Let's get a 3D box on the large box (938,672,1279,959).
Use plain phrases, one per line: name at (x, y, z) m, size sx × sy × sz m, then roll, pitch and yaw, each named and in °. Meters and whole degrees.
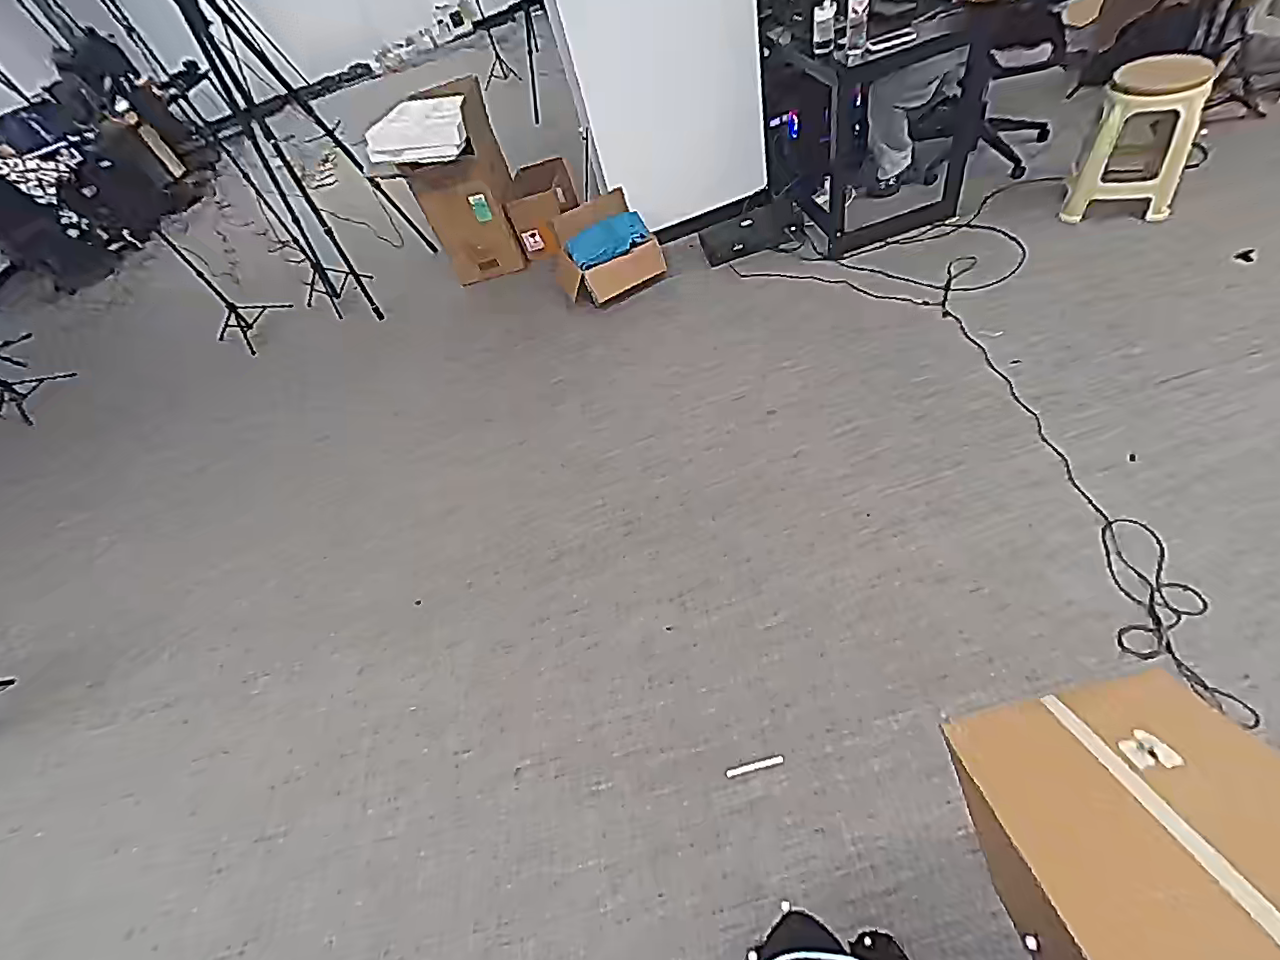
large box at (0.644, 0.514, 0.657) m, size 0.320 × 0.320 × 0.408 m, roll -19°, pitch 10°, yaw 10°
